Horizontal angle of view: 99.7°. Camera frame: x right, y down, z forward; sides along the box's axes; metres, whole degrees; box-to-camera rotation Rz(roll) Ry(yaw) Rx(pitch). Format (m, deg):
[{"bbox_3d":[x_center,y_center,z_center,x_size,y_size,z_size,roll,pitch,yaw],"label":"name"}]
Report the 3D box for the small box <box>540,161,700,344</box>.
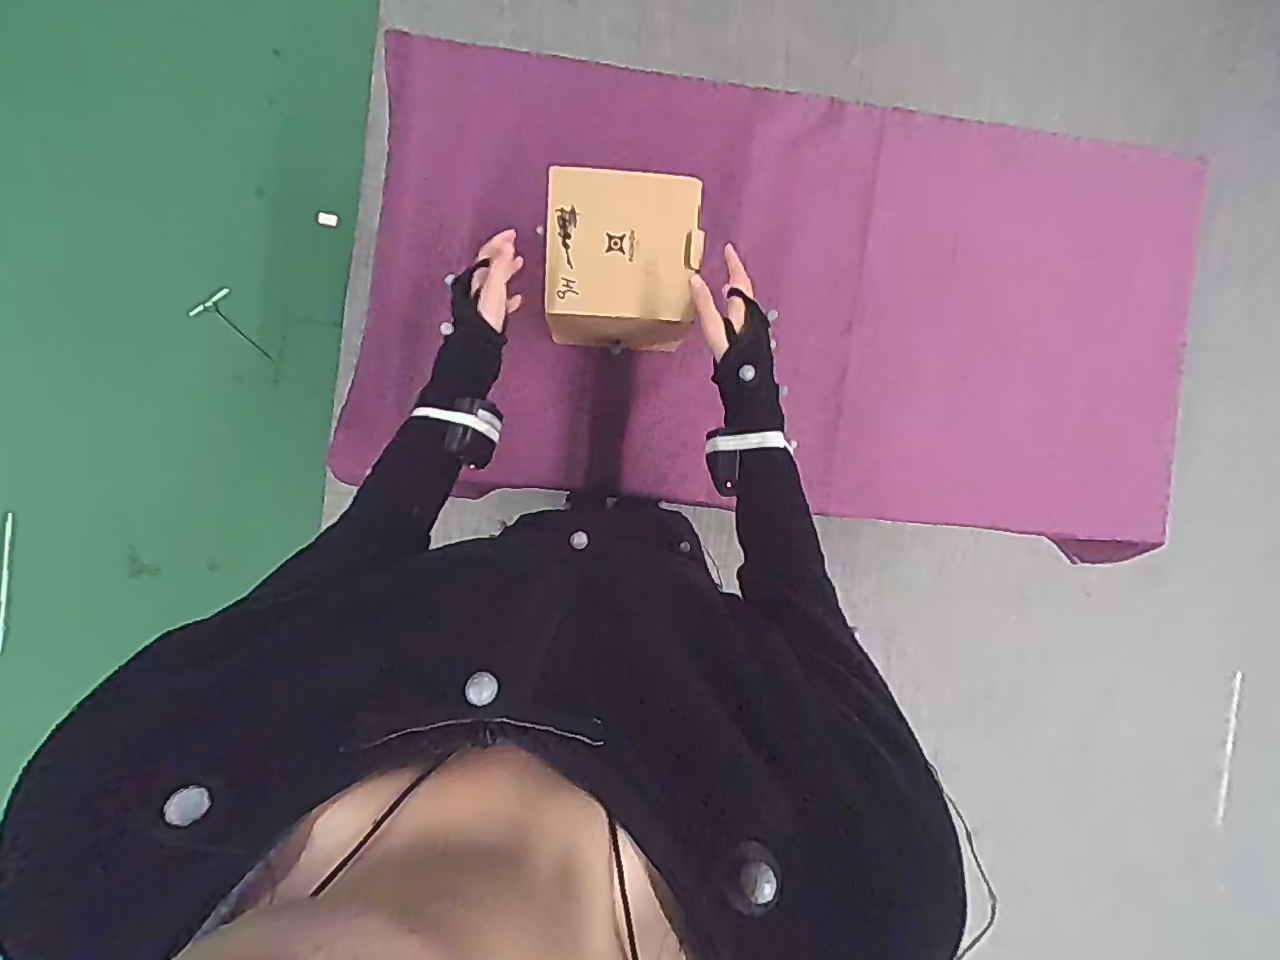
[{"bbox_3d":[-0.029,-0.276,0.696,0.179,0.176,0.168,3,93,-4],"label":"small box"}]
